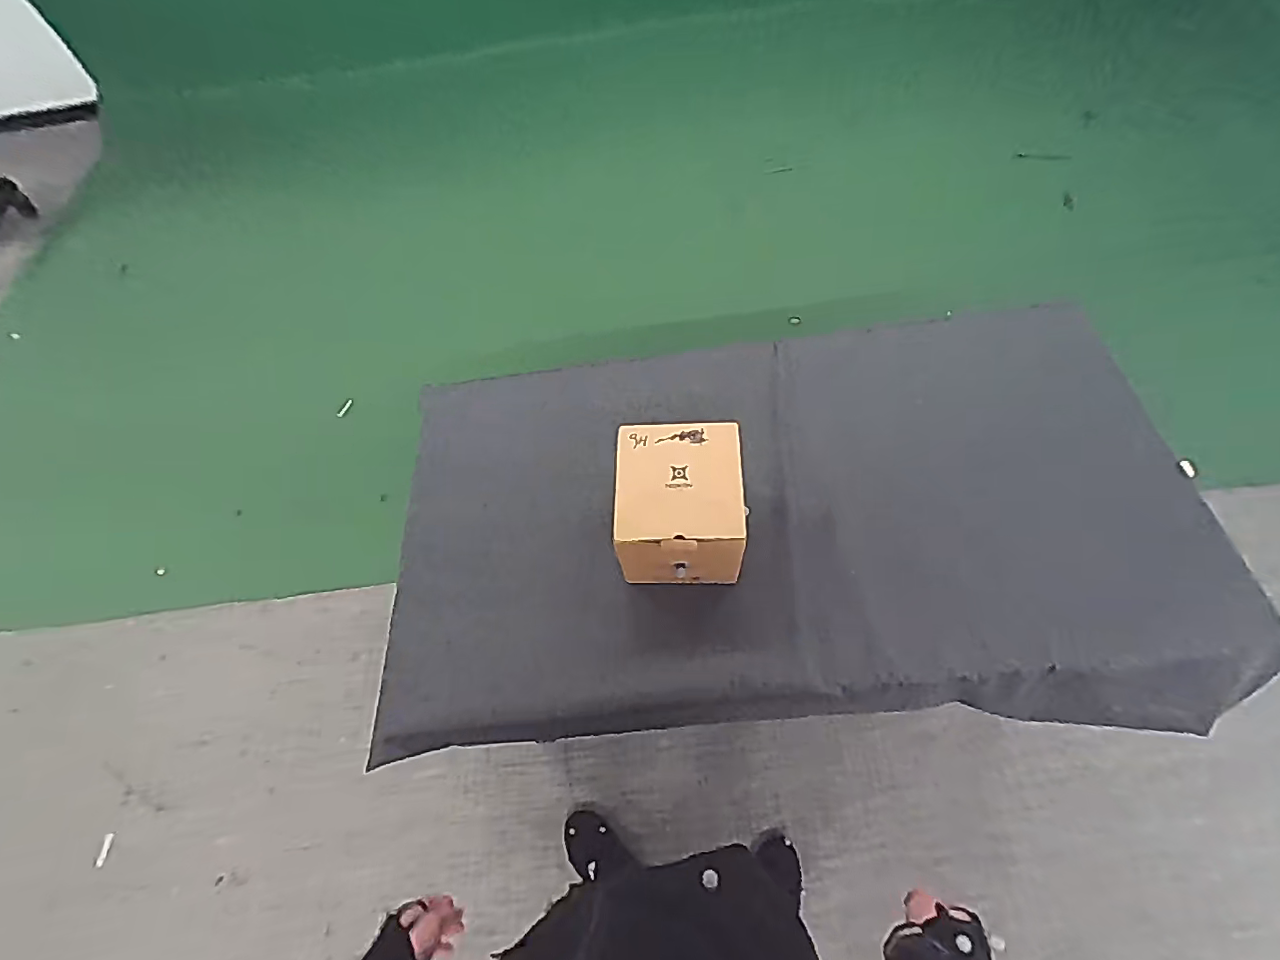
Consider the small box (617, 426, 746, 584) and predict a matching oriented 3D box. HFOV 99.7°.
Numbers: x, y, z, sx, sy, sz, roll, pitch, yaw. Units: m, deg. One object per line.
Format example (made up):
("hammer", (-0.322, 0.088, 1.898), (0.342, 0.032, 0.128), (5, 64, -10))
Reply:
("small box", (0.060, 0.045, 0.779), (0.168, 0.176, 0.179), (-4, 61, 5))
